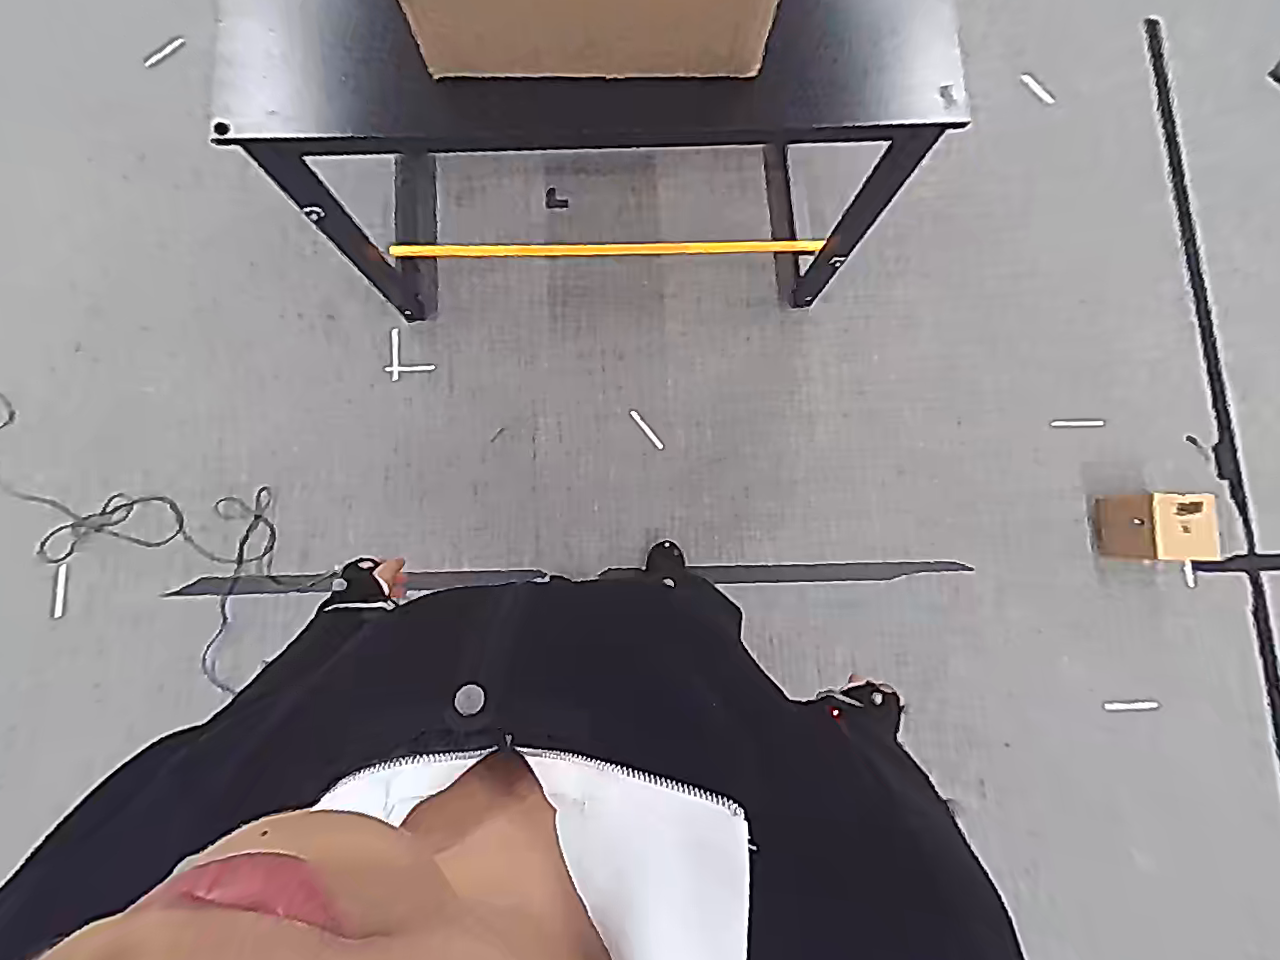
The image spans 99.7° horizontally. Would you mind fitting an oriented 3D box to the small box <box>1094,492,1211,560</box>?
[{"bbox_3d":[1.395,0.129,1.485,0.168,0.176,0.179,1,84,-2],"label":"small box"}]
